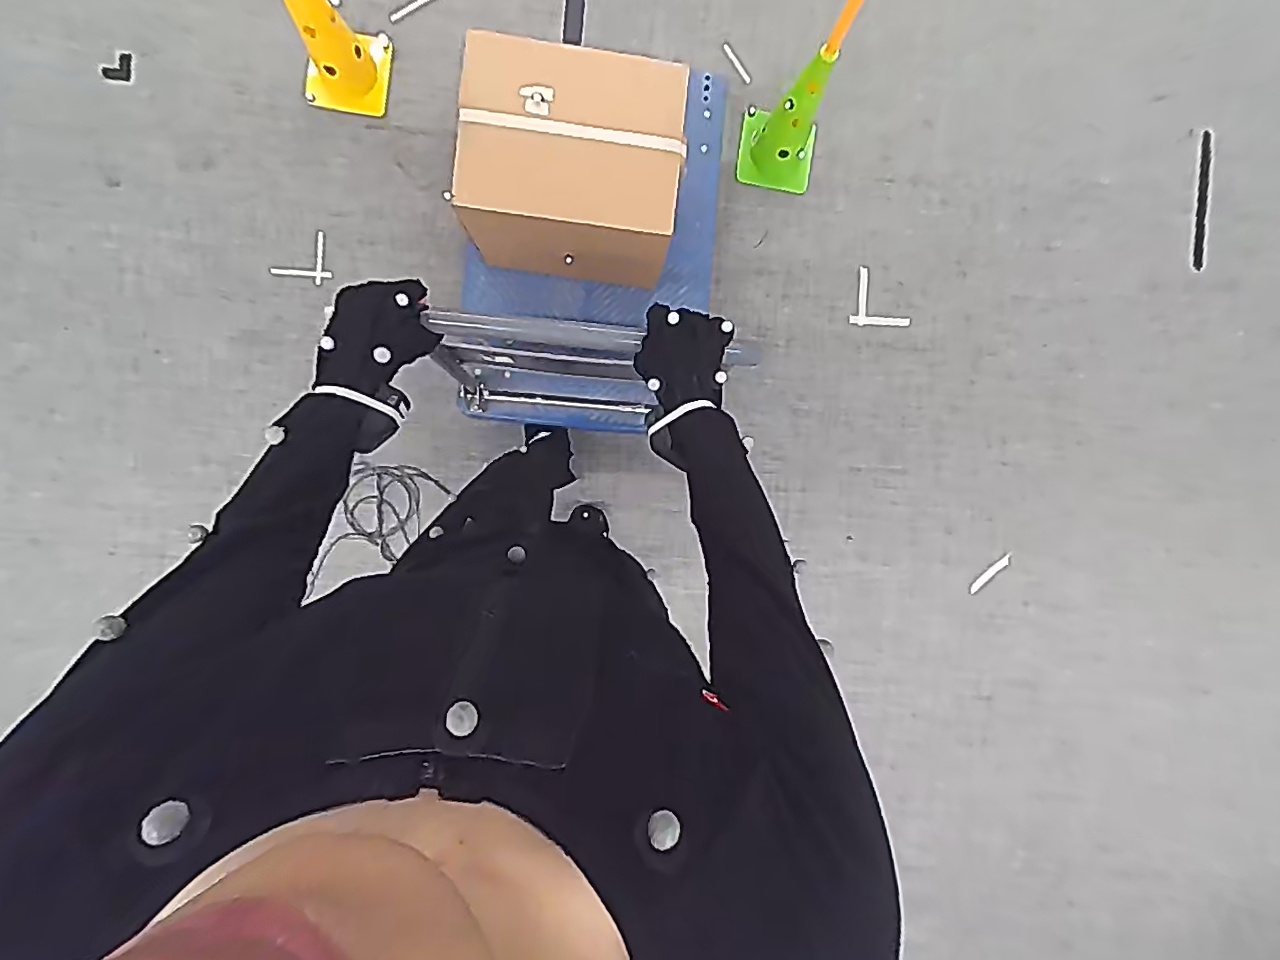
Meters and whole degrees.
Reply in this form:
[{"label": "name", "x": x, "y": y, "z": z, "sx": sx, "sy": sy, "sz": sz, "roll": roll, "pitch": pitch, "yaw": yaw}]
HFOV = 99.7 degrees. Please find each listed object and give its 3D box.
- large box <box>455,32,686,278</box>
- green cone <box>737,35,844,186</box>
[{"label": "large box", "x": -0.131, "y": -0.642, "z": 1.133, "sx": 0.408, "sy": 0.320, "sz": 0.320, "roll": 6, "pitch": 92, "yaw": -3}, {"label": "green cone", "x": 0.385, "y": -0.909, "z": 1.301, "sx": 0.202, "sy": 0.368, "sz": 0.200, "roll": 8, "pitch": 91, "yaw": -5}]
